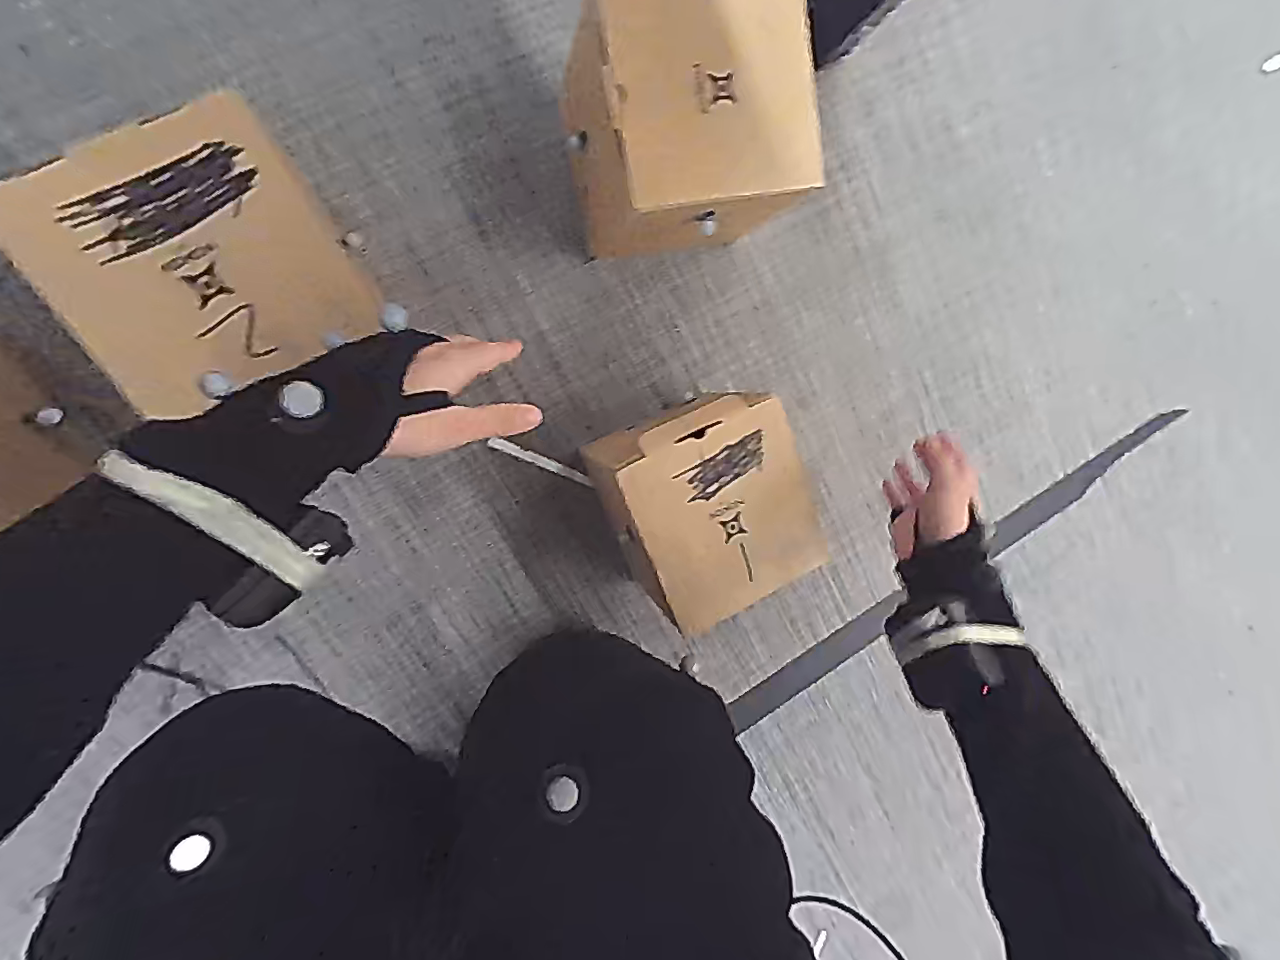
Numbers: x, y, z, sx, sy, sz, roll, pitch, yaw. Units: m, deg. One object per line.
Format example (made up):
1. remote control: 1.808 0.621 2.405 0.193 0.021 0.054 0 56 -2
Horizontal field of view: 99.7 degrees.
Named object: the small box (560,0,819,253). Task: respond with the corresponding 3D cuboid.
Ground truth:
1. small box: 0.036 -0.323 0.501 0.179 0.176 0.168 -14 102 -13
